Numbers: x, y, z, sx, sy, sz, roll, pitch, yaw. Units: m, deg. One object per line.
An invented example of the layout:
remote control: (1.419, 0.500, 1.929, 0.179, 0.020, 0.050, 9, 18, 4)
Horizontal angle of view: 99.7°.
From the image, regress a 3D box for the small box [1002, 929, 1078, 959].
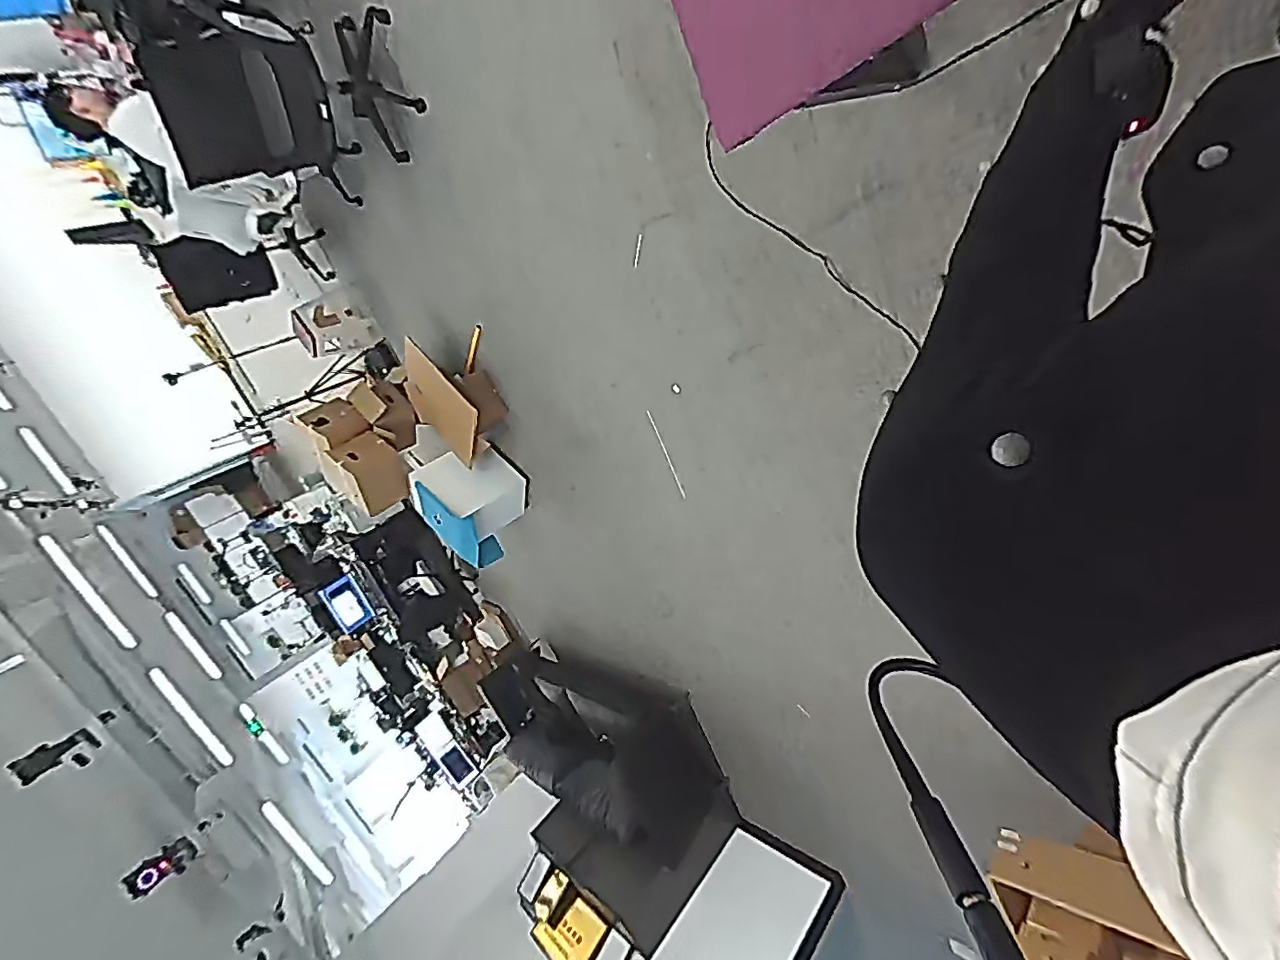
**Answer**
small box: (1.122, 1.406, 1.490, 0.168, 0.176, 0.179, -23, 100, 54)
